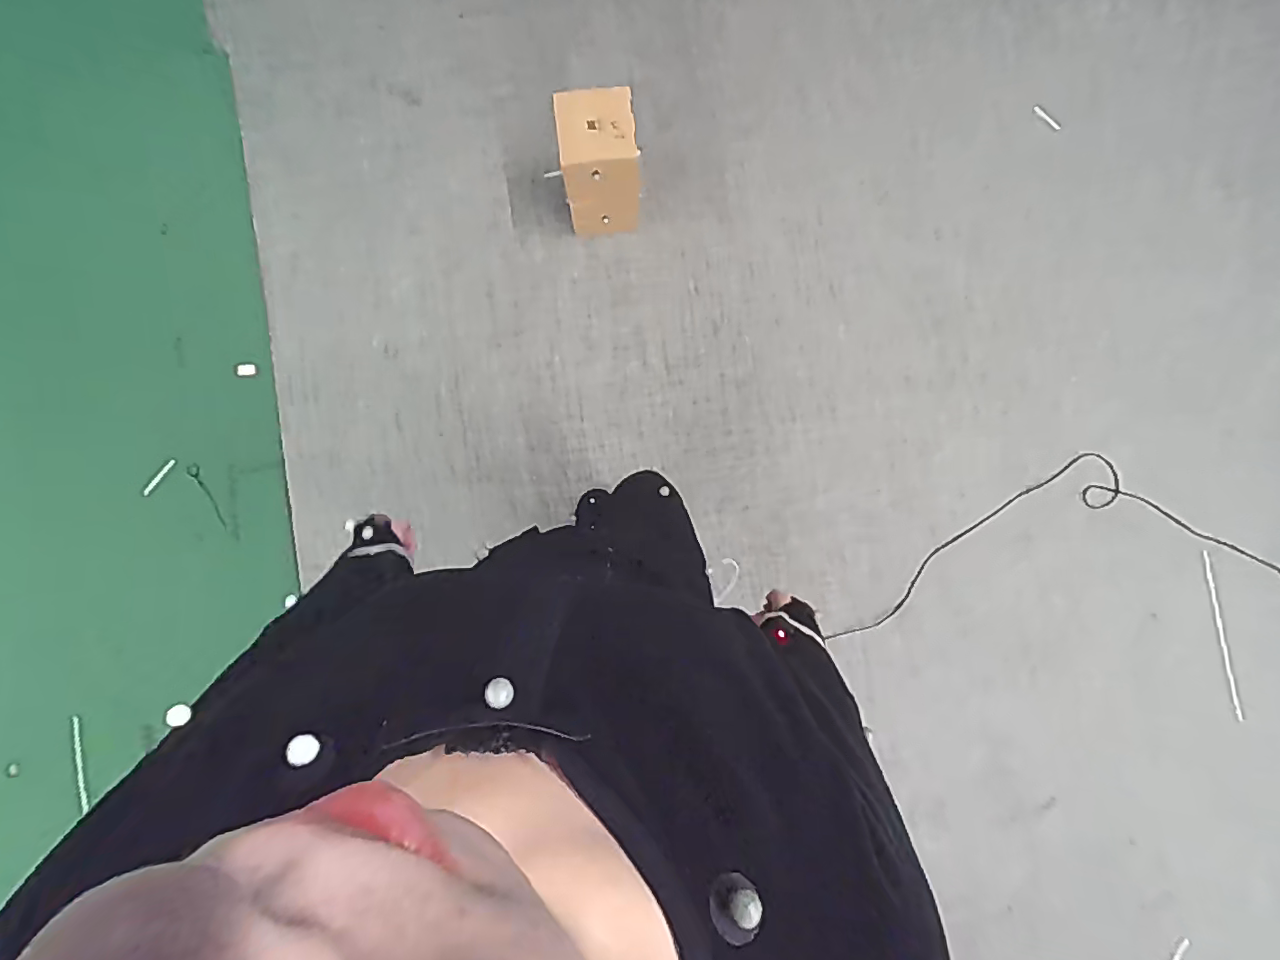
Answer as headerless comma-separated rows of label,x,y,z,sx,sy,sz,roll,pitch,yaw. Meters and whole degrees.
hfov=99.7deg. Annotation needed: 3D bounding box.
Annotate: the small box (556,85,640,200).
small box,-0.094,-0.790,1.285,0.179,0.176,0.168,-6,89,-1
